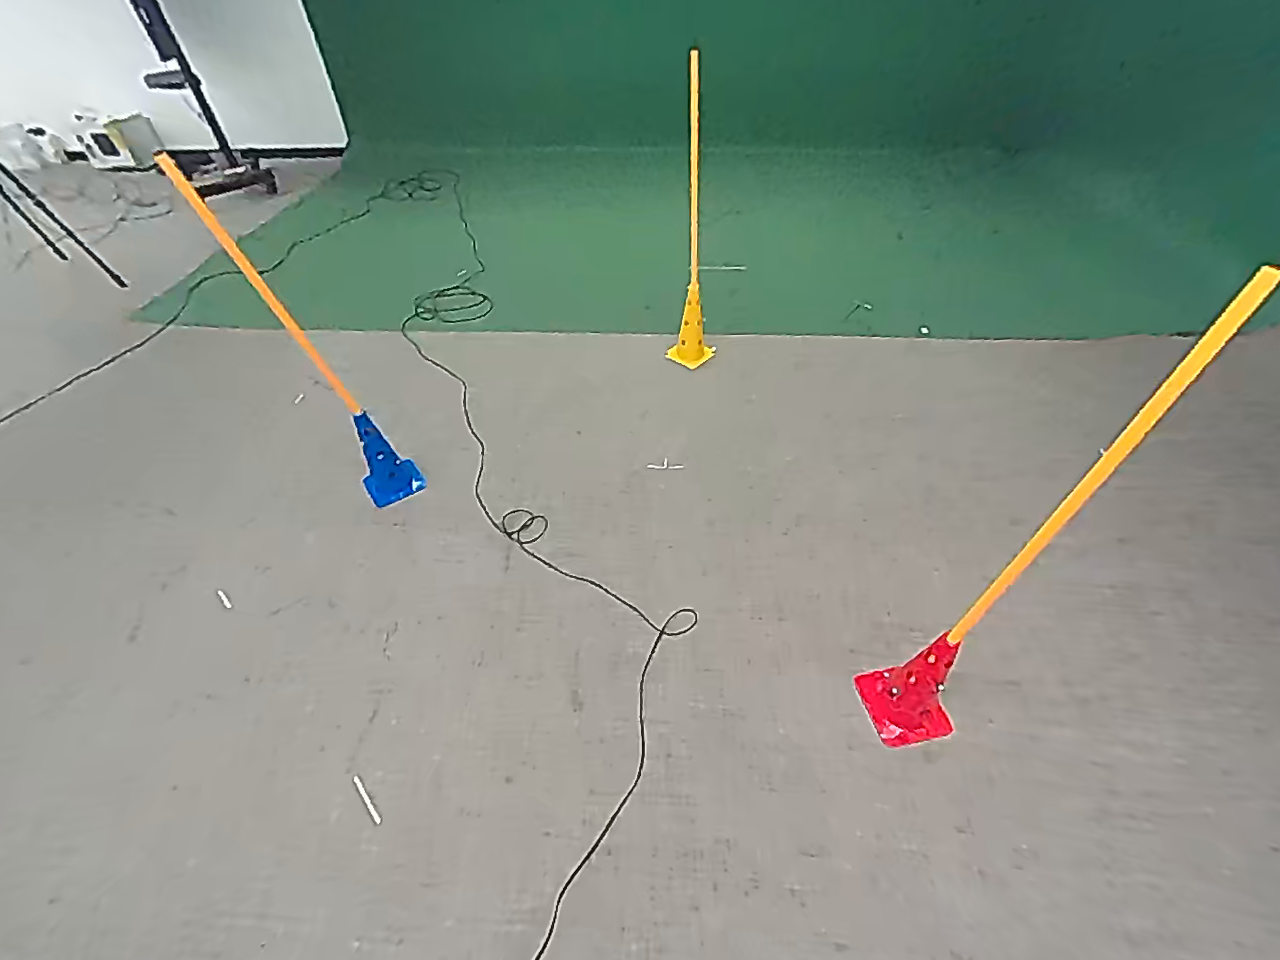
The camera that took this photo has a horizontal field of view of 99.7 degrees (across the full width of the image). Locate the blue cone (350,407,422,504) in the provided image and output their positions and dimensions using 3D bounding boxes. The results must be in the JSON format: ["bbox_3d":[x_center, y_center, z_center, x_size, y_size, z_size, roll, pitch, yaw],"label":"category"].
[{"bbox_3d":[-0.957,-0.106,1.965,0.193,0.380,0.192,-31,53,-24],"label":"blue cone"}]
